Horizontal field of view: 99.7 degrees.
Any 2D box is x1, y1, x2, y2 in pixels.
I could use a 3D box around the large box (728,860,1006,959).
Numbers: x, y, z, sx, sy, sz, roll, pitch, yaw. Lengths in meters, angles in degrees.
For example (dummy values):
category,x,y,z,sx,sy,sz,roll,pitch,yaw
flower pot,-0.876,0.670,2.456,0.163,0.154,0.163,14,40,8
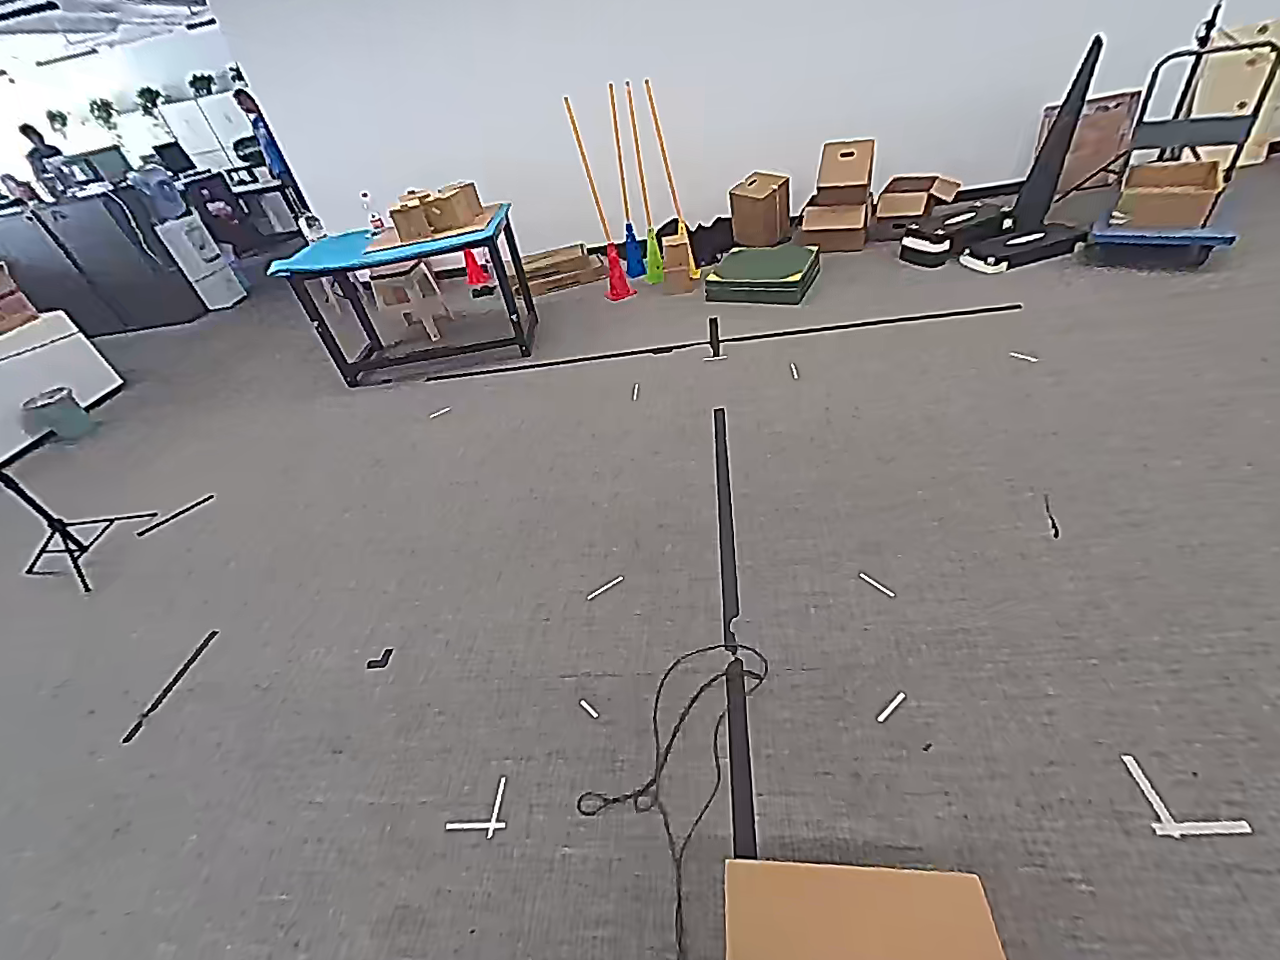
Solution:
category,x,y,z,sx,sy,sz,roll,pitch,yaw
large box,0.358,0.857,0.879,0.408,0.320,0.320,-4,40,10
